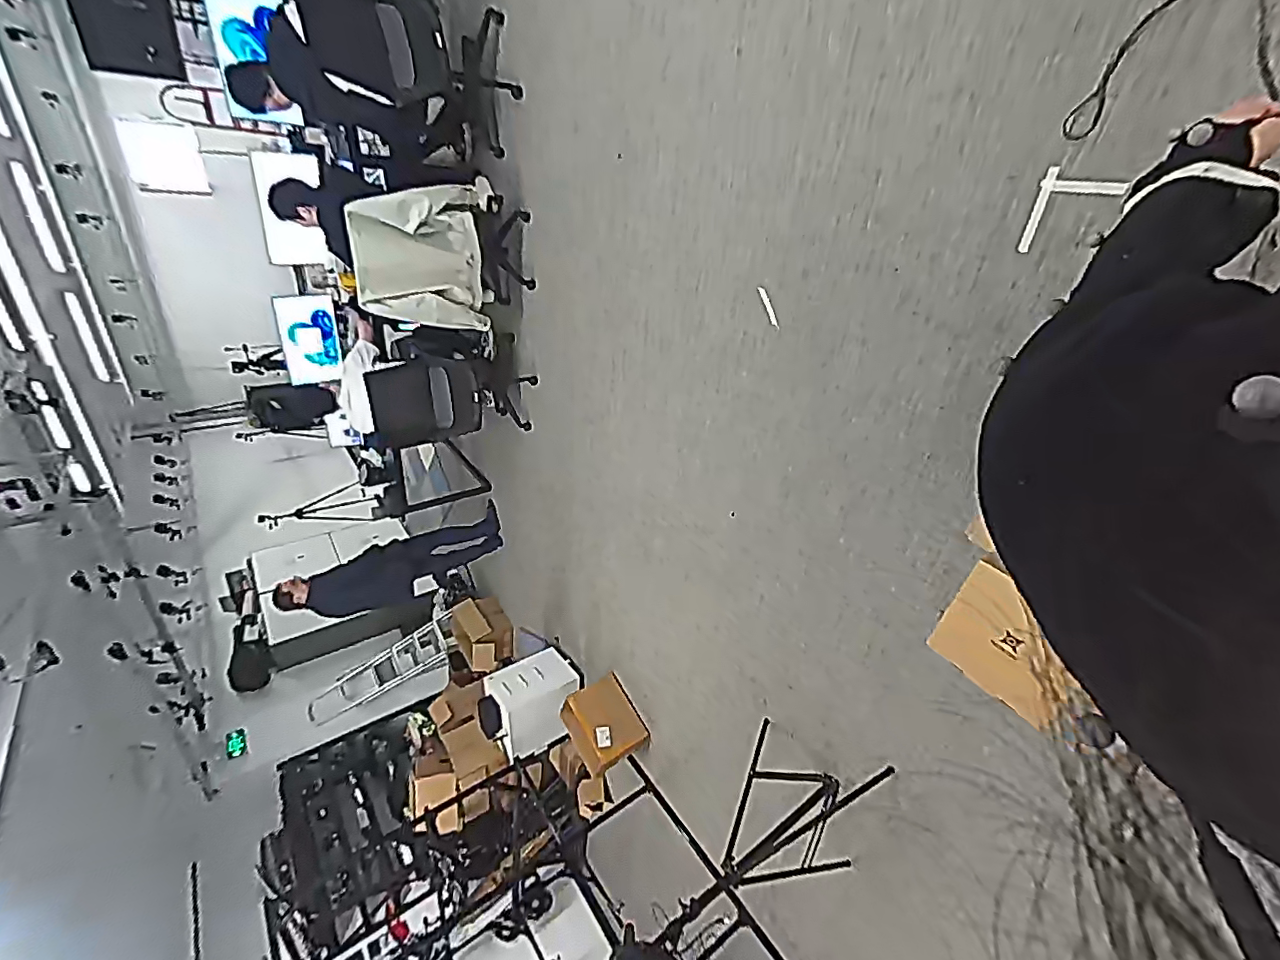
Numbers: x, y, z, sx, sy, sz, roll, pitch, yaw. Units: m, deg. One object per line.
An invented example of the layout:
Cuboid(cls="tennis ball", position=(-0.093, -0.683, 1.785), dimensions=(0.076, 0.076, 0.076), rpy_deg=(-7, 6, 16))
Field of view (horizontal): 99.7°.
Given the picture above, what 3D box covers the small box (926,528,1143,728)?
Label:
Cuboid(cls="small box", position=(0.547, 0.193, 0.753), dimensions=(0.168, 0.176, 0.179), rpy_deg=(41, 135, 39))
